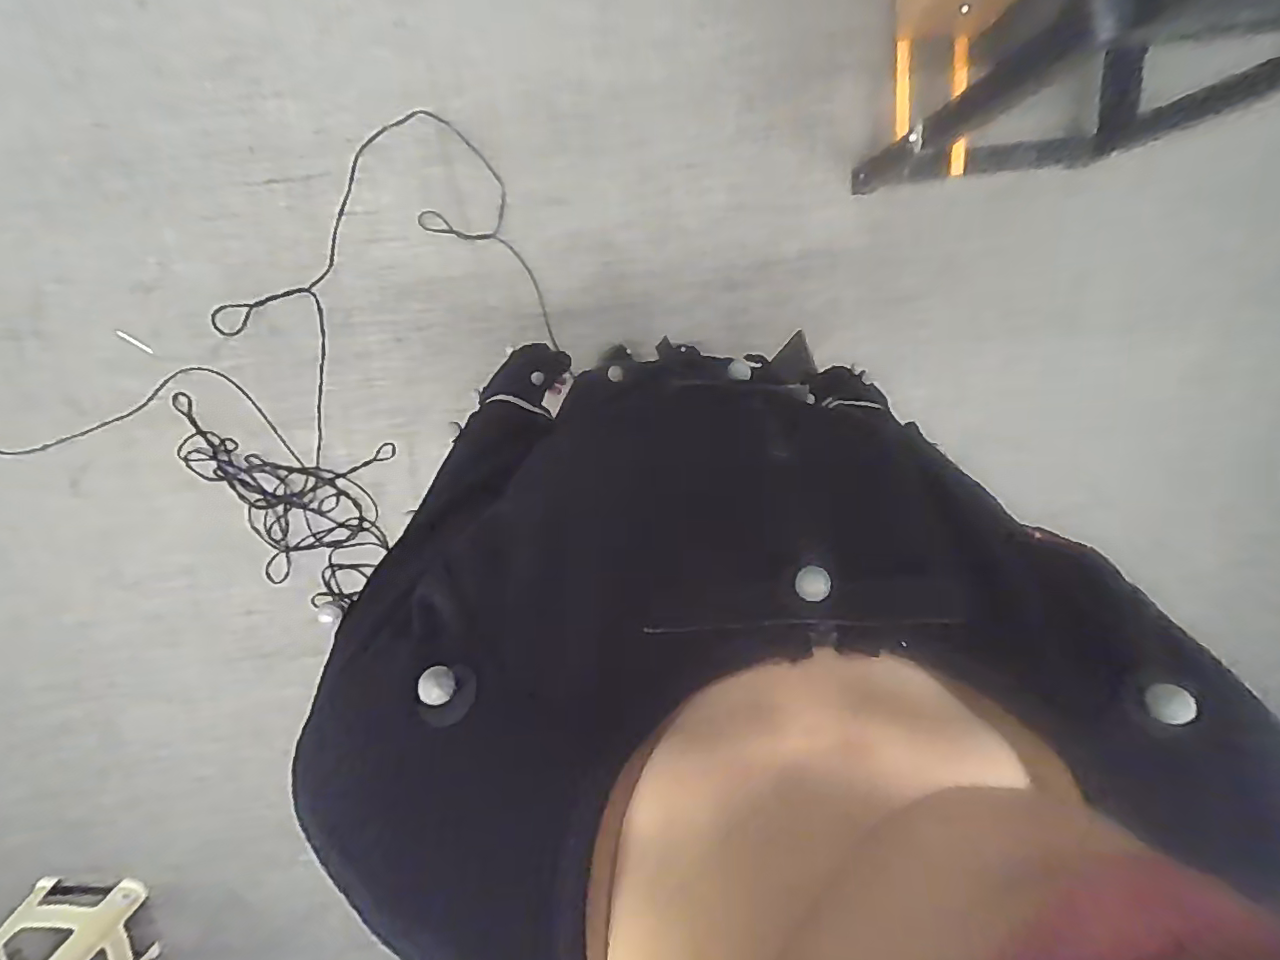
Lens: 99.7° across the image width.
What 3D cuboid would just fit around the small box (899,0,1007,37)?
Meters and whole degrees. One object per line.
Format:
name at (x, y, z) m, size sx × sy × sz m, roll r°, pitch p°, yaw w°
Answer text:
small box at (0.630, -1.003, 1.054) m, size 0.179 × 0.176 × 0.168 m, roll -3°, pitch 105°, yaw 0°
